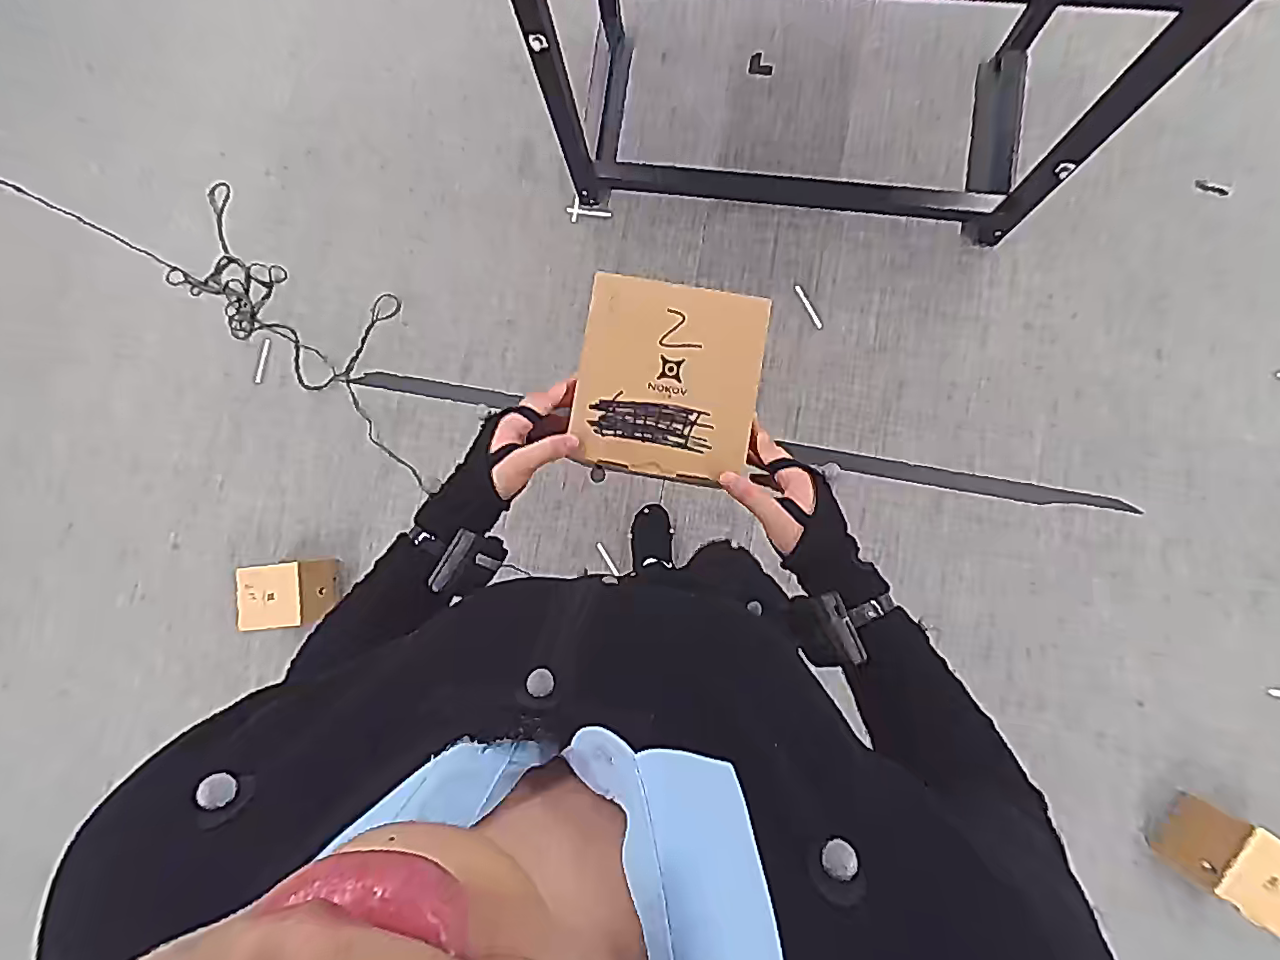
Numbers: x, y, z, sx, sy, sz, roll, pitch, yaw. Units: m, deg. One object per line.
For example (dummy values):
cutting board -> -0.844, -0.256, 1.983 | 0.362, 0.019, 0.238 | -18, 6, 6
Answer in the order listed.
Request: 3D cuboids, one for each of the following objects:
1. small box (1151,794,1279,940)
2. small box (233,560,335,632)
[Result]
small box -> 1.349, 0.870, 1.239 | 0.168, 0.176, 0.179 | 35, 88, 7
small box -> -0.961, 0.310, 1.476 | 0.179, 0.176, 0.168 | -6, 84, 4
